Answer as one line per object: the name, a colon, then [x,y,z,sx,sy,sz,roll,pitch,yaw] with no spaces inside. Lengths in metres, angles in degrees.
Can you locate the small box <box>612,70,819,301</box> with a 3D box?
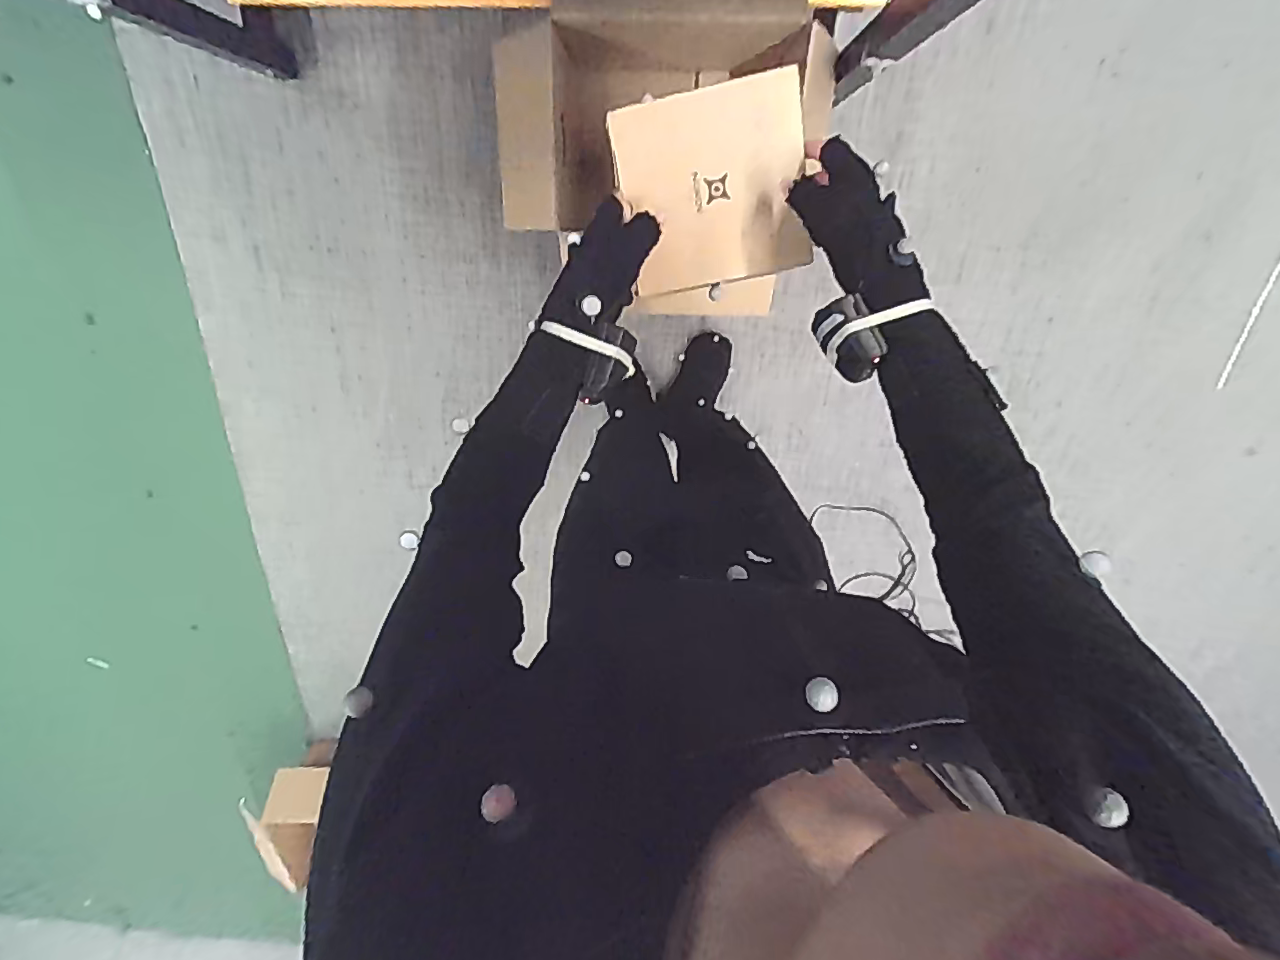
small box: [0.079,-0.296,0.579,0.179,0.176,0.168,-9,109,9]
